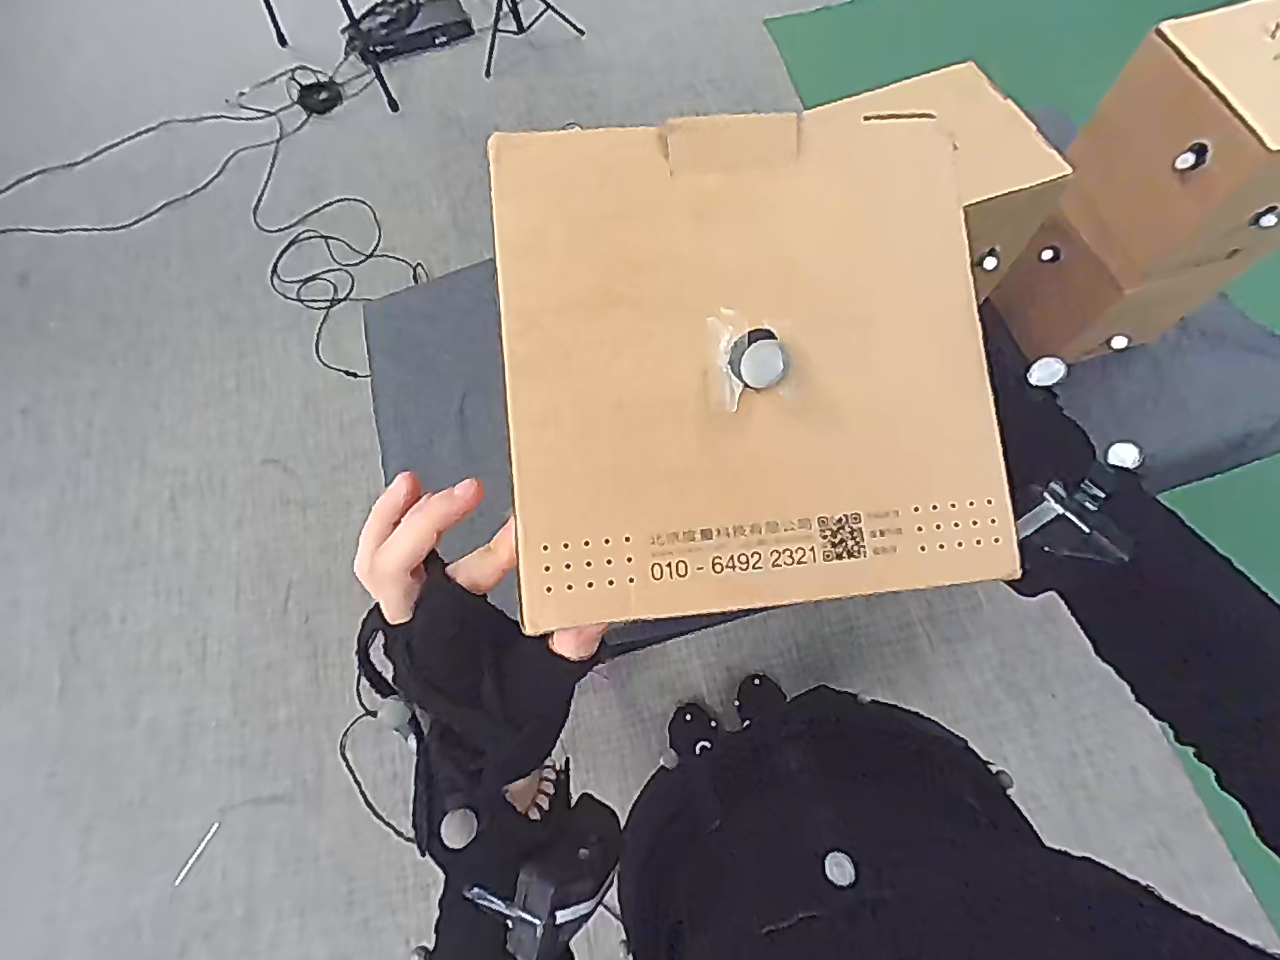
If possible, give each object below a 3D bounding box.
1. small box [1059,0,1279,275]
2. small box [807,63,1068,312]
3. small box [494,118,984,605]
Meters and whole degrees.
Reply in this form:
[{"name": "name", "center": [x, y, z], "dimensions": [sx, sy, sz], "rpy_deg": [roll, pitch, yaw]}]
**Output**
[{"name": "small box", "center": [0.581, -0.335, 0.549], "dimensions": [0.168, 0.176, 0.179], "rpy_deg": [-14, 68, 0]}, {"name": "small box", "center": [0.266, -0.271, 0.557], "dimensions": [0.179, 0.176, 0.168], "rpy_deg": [-18, 67, -1]}, {"name": "small box", "center": [0.032, -0.035, 0.267], "dimensions": [0.168, 0.179, 0.176], "rpy_deg": [-4, 85, -5]}]
